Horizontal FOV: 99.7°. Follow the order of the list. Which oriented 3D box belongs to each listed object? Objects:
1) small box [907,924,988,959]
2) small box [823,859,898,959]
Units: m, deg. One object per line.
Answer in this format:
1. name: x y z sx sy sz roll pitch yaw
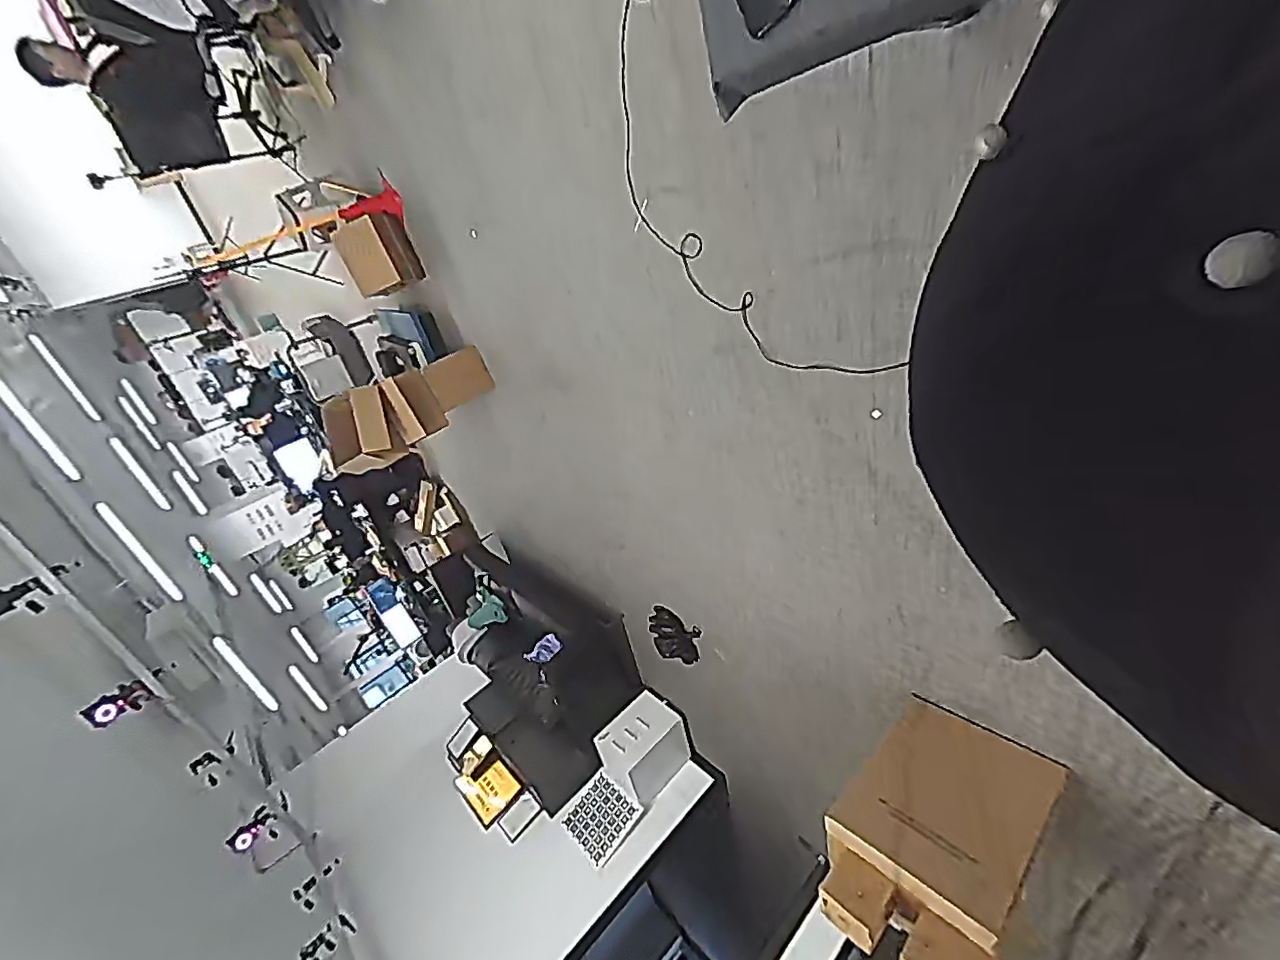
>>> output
1. small box: 0.888 1.438 1.559 0.179 0.176 0.168 14 127 46
2. small box: 0.714 1.387 1.748 0.179 0.176 0.168 18 128 45
